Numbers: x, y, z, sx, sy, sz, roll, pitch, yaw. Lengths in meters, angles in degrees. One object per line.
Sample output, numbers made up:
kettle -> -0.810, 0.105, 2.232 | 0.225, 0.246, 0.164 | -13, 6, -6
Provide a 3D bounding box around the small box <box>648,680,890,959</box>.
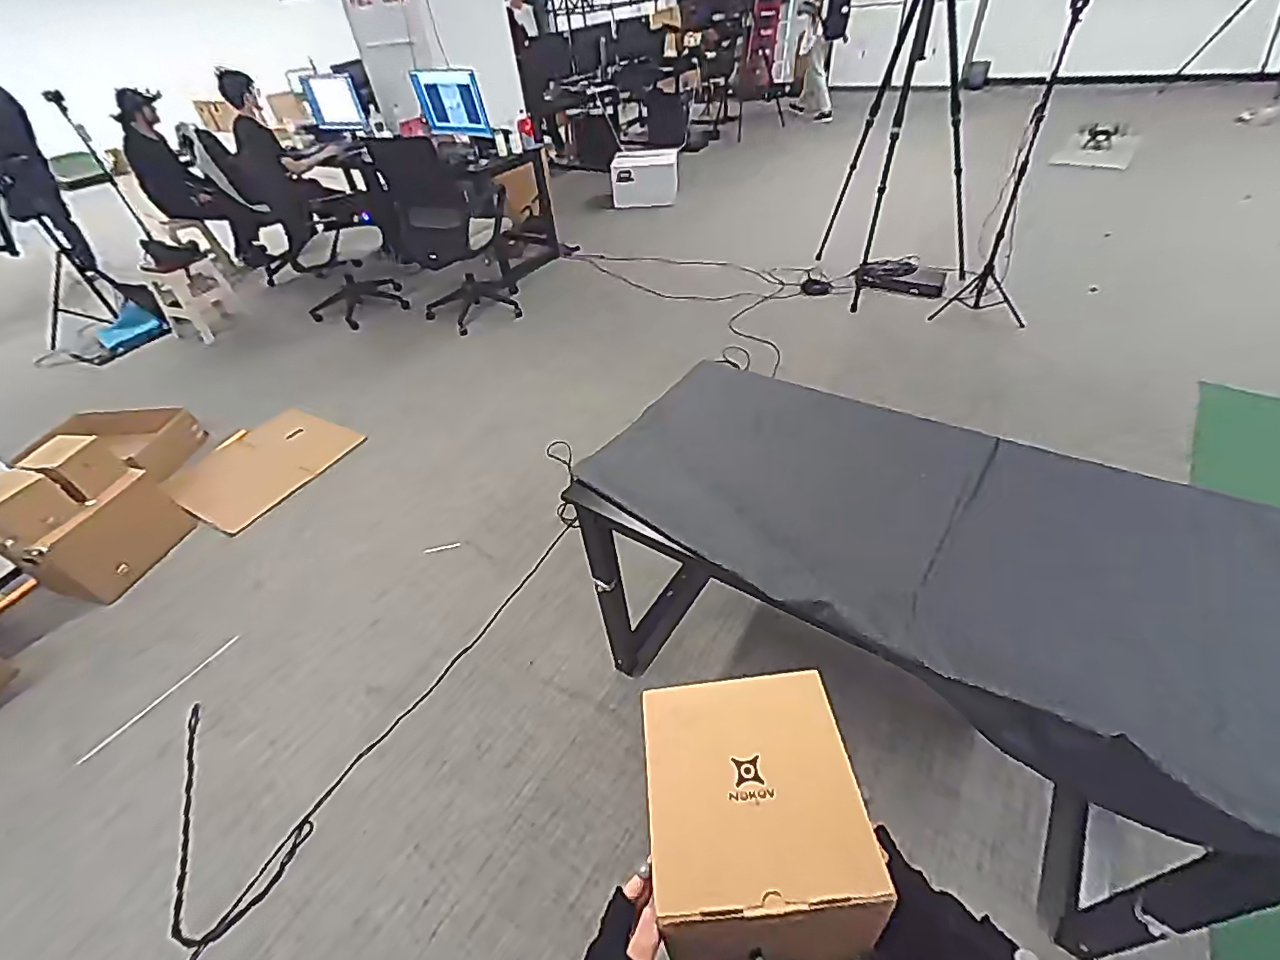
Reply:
small box -> 0.100, 0.313, 0.493 | 0.168, 0.176, 0.179 | -8, 38, 2
